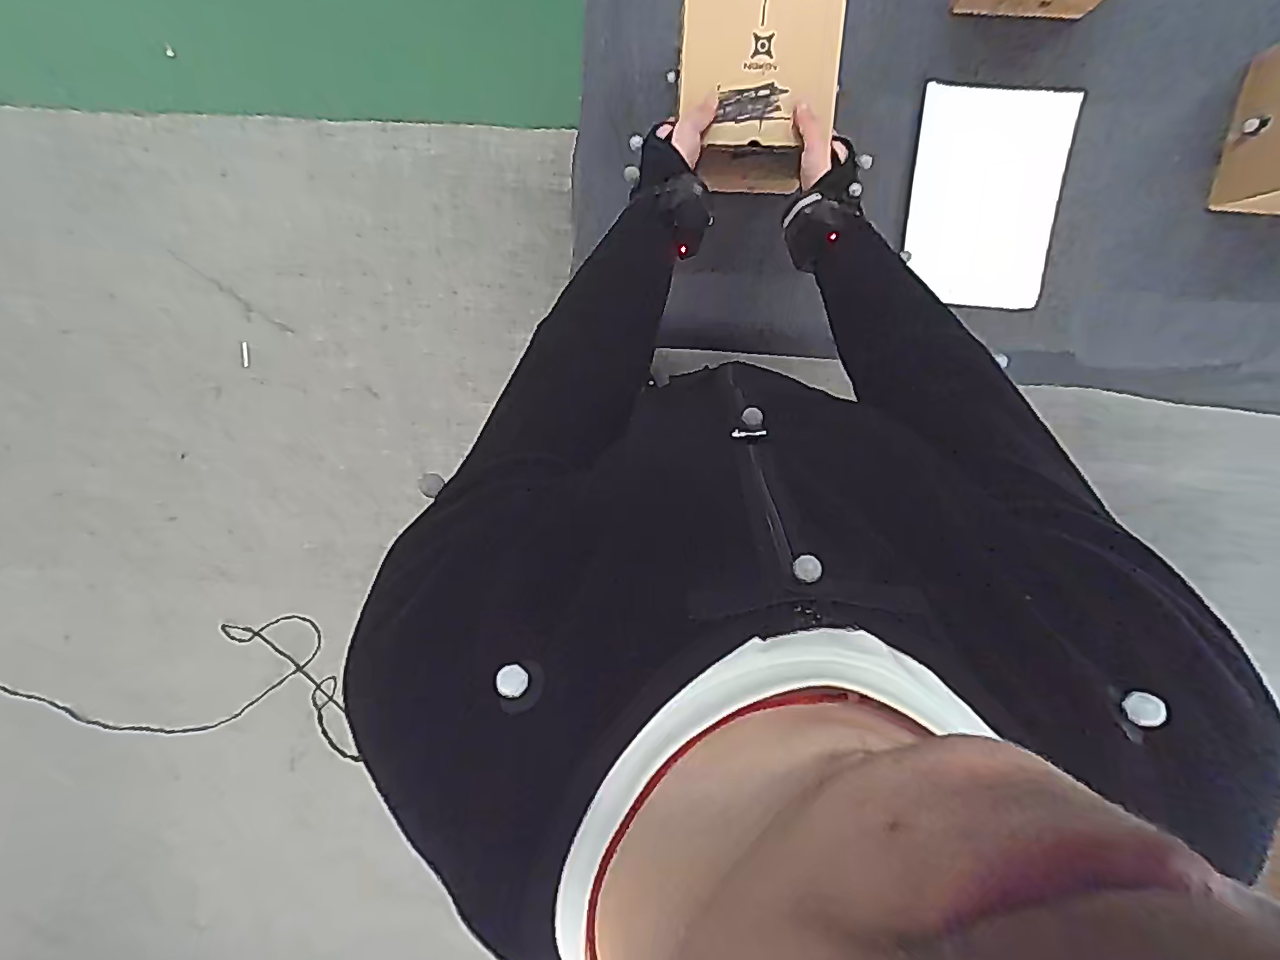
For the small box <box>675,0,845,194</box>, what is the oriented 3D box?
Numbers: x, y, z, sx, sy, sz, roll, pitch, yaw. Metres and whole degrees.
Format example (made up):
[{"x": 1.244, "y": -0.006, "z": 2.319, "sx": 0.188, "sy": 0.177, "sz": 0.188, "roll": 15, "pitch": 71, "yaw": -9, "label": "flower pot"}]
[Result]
[{"x": 0.129, "y": -0.456, "z": 0.646, "sx": 0.168, "sy": 0.176, "sz": 0.179, "roll": 2, "pitch": 104, "yaw": 1, "label": "small box"}]

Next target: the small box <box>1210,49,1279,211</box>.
[{"x": 0.836, "y": -0.417, "z": 0.623, "sx": 0.168, "sy": 0.176, "sz": 0.179, "roll": 4, "pitch": 105, "yaw": 1, "label": "small box"}]

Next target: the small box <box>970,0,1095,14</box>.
[{"x": 0.468, "y": -0.640, "z": 0.571, "sx": 0.168, "sy": 0.176, "sz": 0.179, "roll": 3, "pitch": 103, "yaw": 1, "label": "small box"}]
